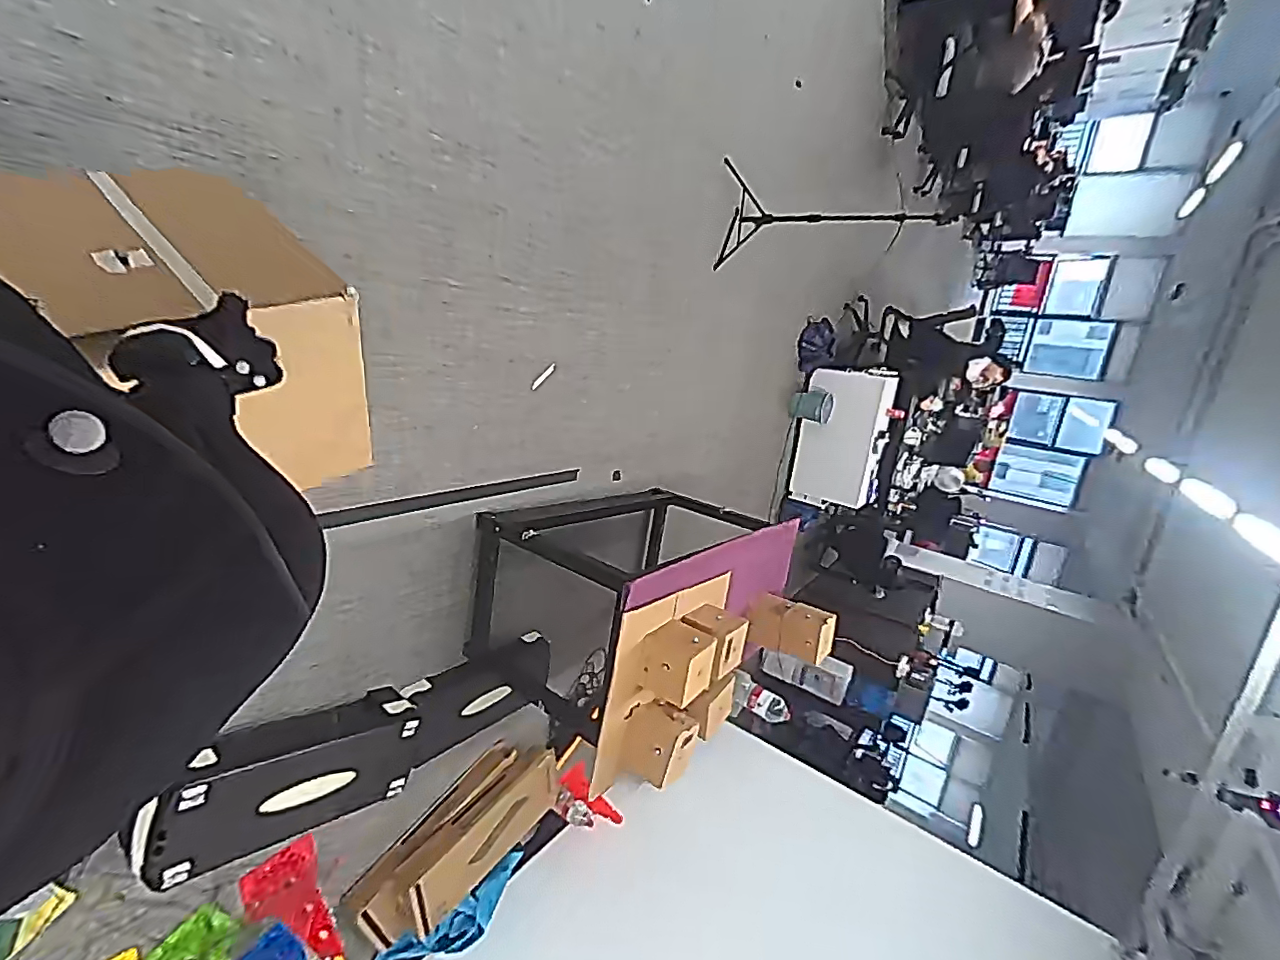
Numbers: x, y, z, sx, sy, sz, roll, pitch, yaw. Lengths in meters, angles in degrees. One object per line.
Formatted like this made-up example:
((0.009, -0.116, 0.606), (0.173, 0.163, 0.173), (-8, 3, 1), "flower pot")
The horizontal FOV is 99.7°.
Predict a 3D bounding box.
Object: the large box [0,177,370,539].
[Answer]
((-0.654, -0.195, 0.786), (0.320, 0.408, 0.320), (-31, 153, -40), "large box")
